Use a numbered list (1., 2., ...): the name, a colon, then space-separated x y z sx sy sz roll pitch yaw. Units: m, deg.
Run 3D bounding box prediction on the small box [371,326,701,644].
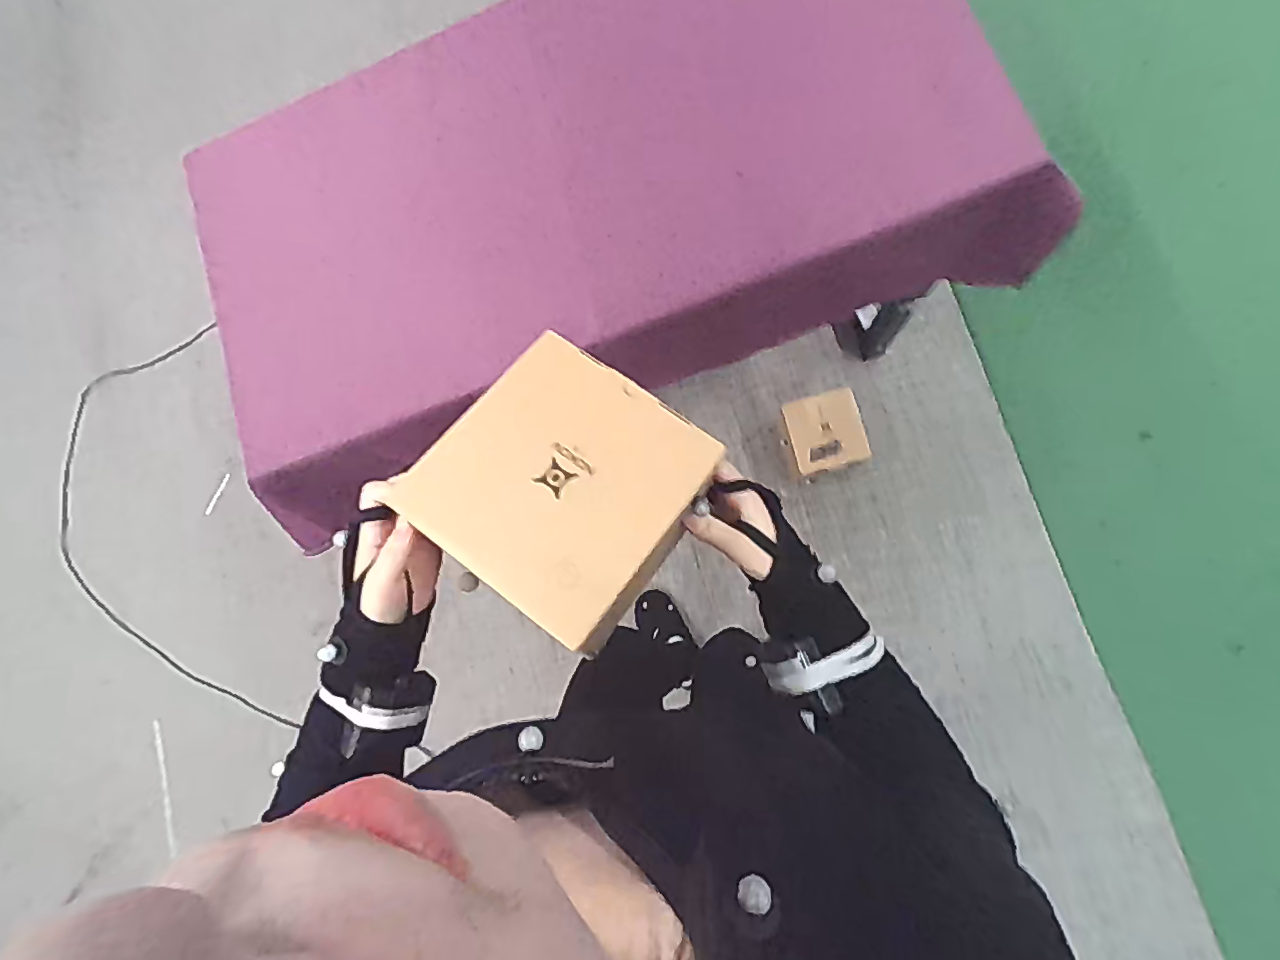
1. small box: -0.071 0.018 0.451 0.168 0.176 0.179 36 72 10
